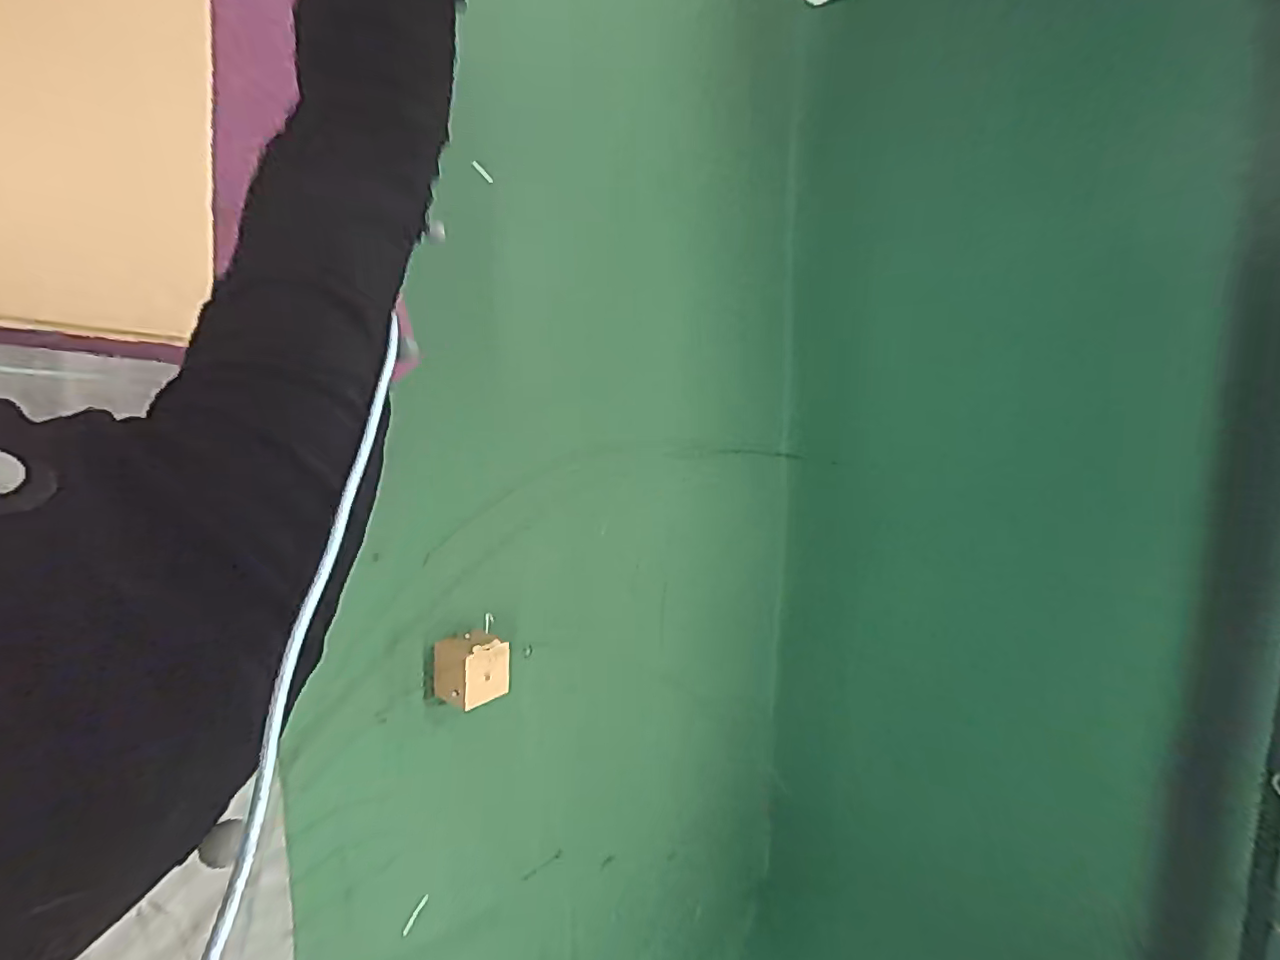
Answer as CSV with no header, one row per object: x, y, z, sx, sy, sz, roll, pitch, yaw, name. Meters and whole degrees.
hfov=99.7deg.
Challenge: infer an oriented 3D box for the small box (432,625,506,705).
-0.553,0.589,1.746,0.168,0.176,0.179,-6,99,-53,small box
